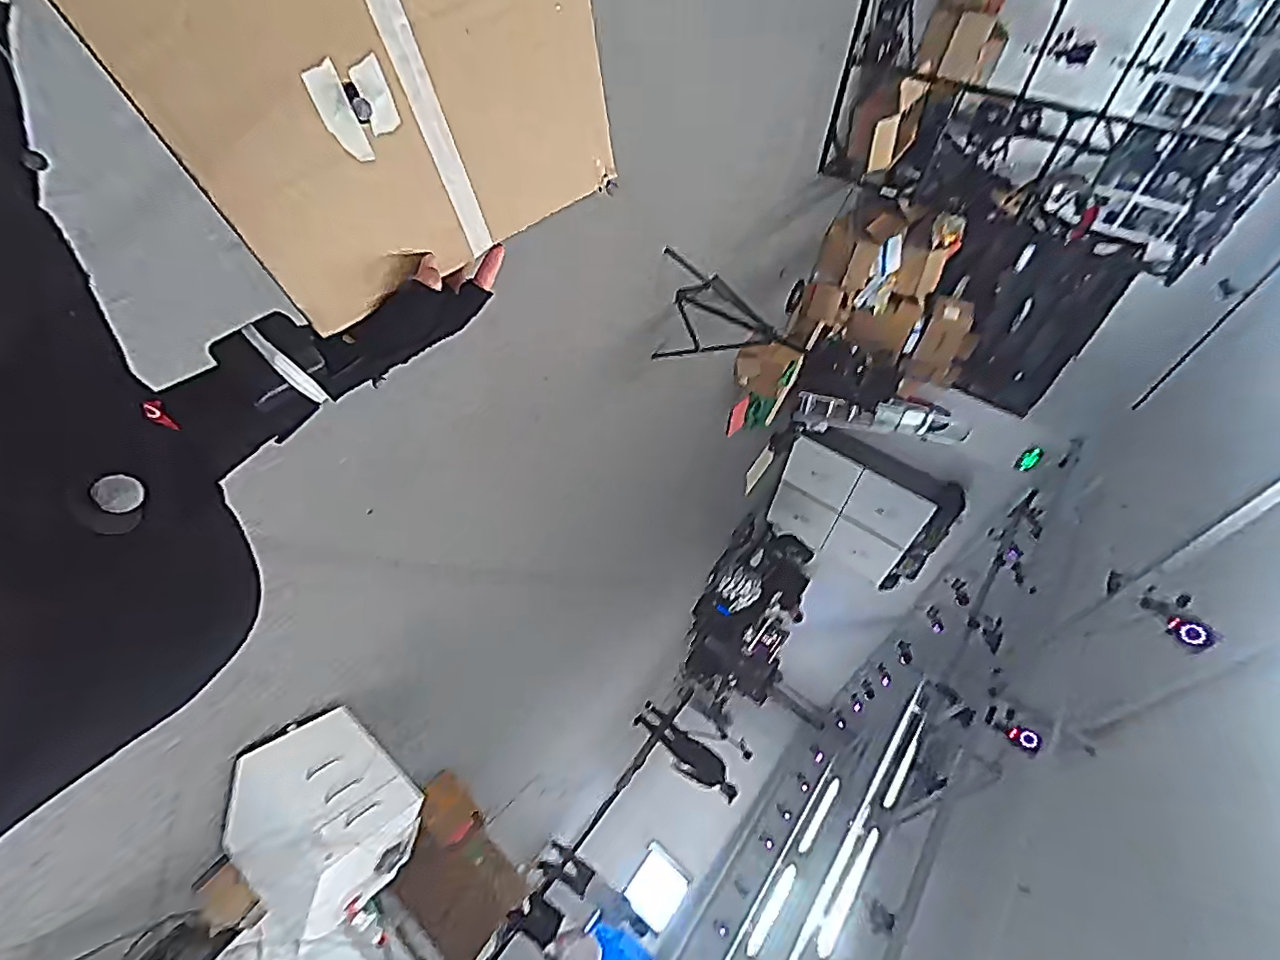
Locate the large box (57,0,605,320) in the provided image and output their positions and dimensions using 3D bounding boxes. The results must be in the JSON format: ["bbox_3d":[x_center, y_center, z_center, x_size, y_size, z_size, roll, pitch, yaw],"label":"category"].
[{"bbox_3d":[-0.268,-0.417,0.403,0.320,0.320,0.408,-36,151,-15],"label":"large box"}]
